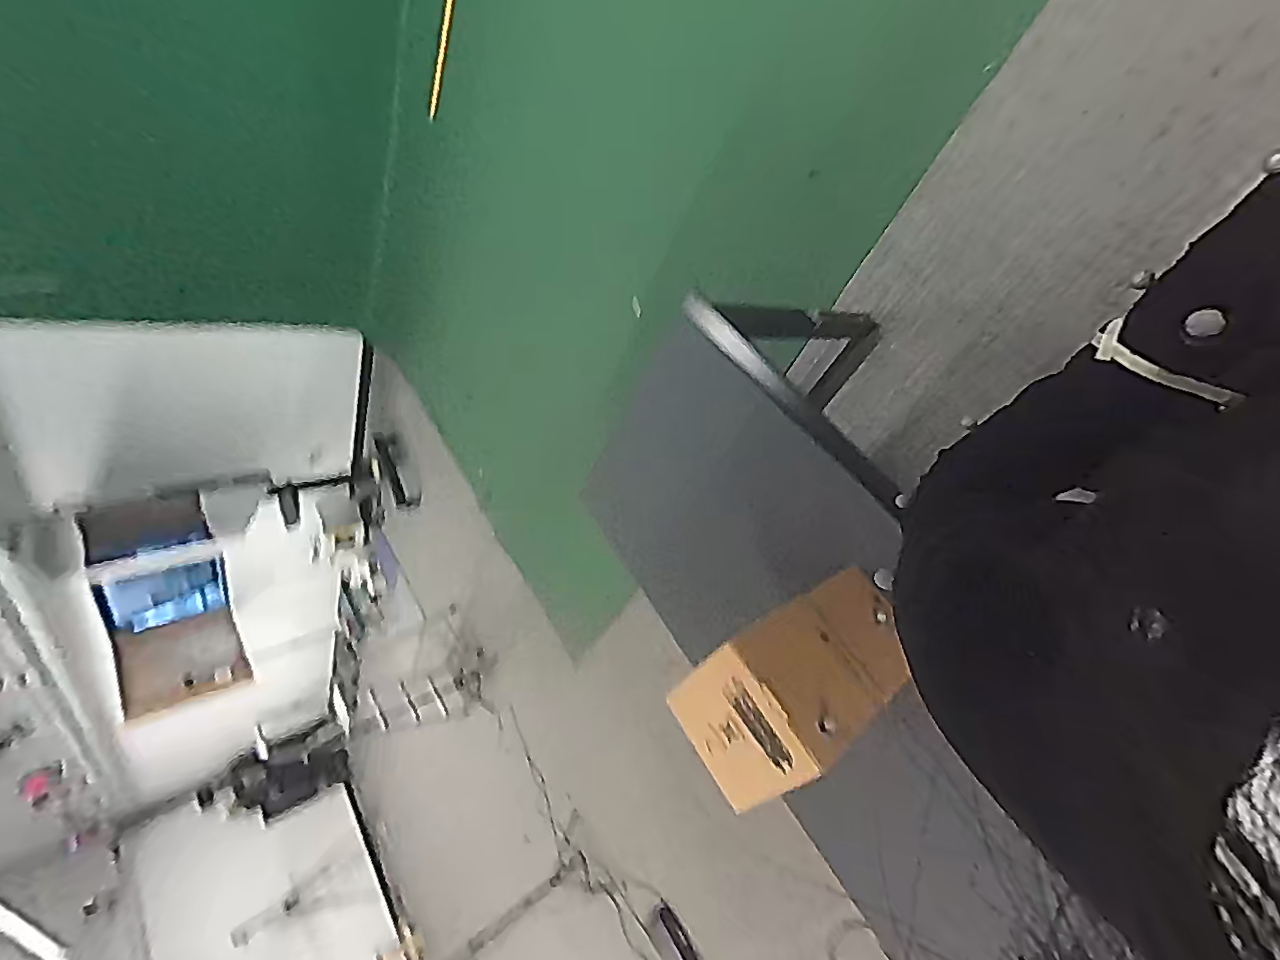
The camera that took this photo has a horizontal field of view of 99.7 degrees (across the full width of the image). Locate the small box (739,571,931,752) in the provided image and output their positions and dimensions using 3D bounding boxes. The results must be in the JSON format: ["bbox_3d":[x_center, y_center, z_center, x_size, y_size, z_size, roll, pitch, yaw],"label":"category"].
[{"bbox_3d":[0.291,0.265,0.808,0.168,0.176,0.179,53,134,24],"label":"small box"}]
